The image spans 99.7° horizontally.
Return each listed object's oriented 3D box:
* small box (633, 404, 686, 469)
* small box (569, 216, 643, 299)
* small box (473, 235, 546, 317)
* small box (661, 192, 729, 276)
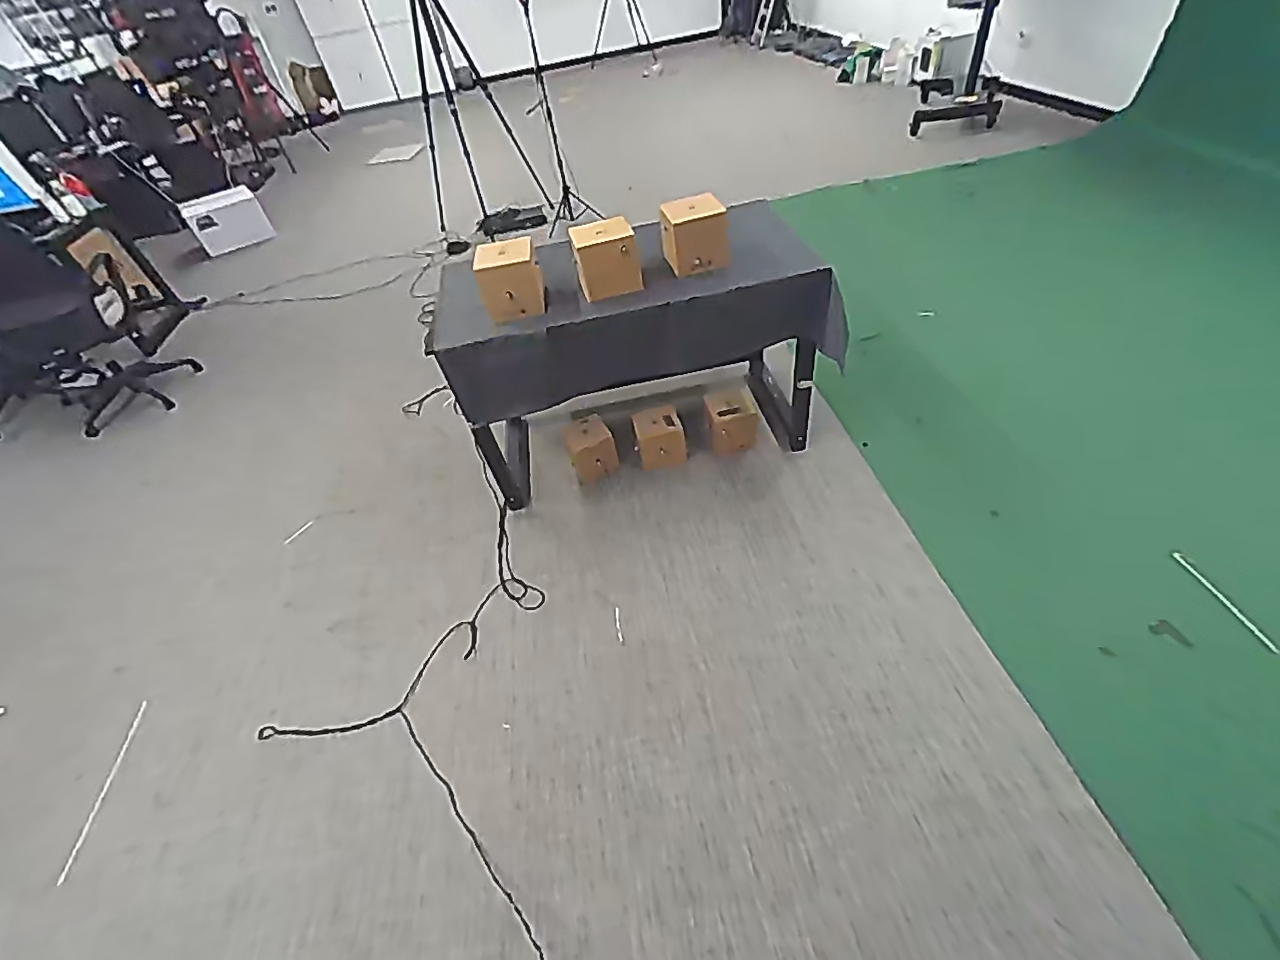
[{"bbox_3d":[0.079,-0.169,2.126,0.179,0.176,0.168,-14,45,-1],"label":"small box"},{"bbox_3d":[-0.099,-0.663,1.621,0.179,0.176,0.168,-15,45,-4],"label":"small box"},{"bbox_3d":[-0.381,-0.598,1.607,0.168,0.176,0.179,-10,45,0],"label":"small box"},{"bbox_3d":[0.168,-0.750,1.651,0.168,0.176,0.179,-14,46,-2],"label":"small box"}]
